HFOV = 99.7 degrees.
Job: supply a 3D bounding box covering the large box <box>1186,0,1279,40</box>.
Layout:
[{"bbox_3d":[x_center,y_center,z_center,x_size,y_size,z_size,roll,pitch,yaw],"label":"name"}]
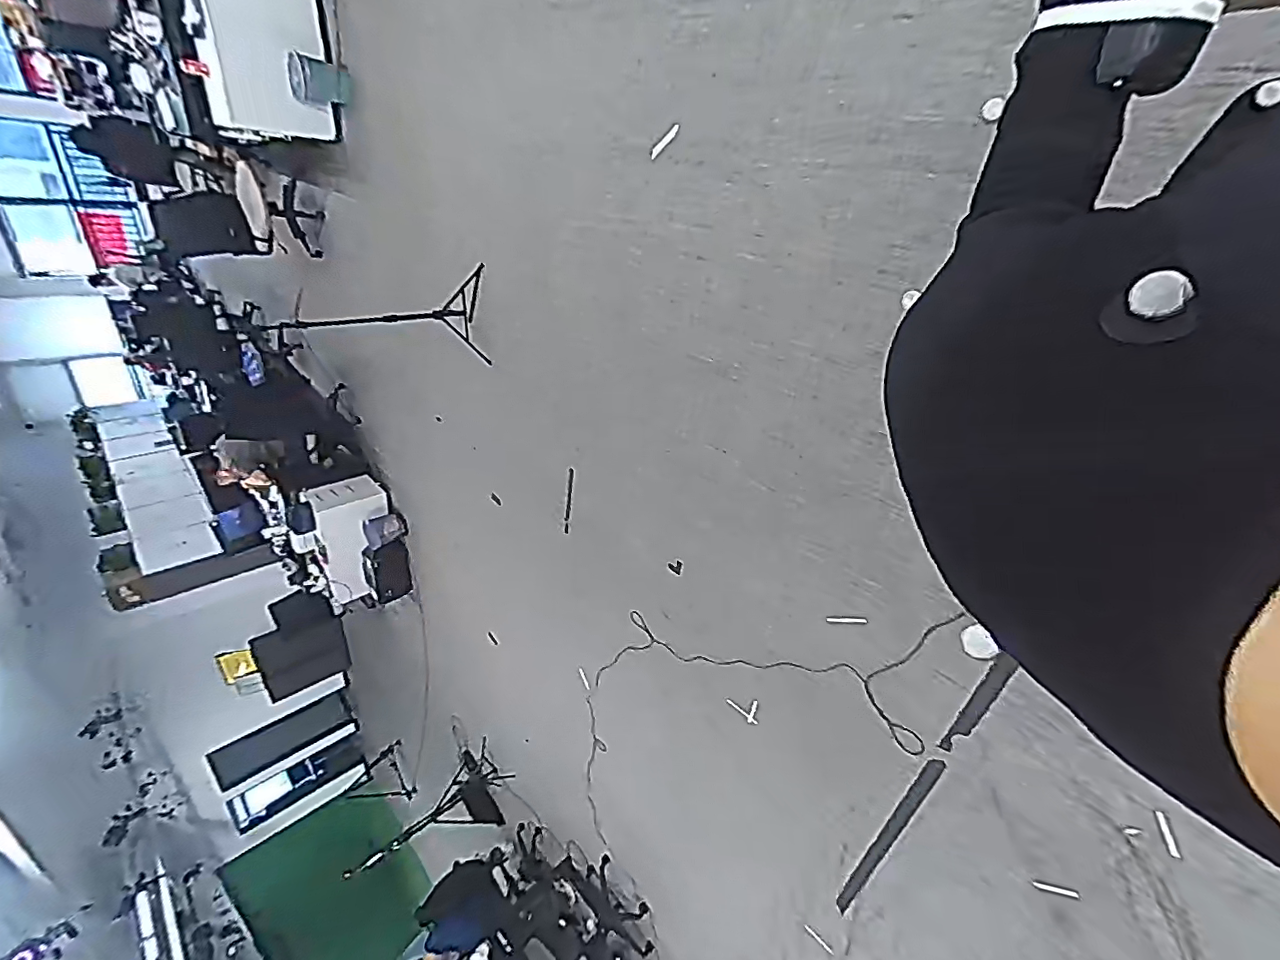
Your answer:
[{"bbox_3d":[0.551,-0.427,0.218,0.408,0.320,0.320,23,128,36],"label":"large box"}]
